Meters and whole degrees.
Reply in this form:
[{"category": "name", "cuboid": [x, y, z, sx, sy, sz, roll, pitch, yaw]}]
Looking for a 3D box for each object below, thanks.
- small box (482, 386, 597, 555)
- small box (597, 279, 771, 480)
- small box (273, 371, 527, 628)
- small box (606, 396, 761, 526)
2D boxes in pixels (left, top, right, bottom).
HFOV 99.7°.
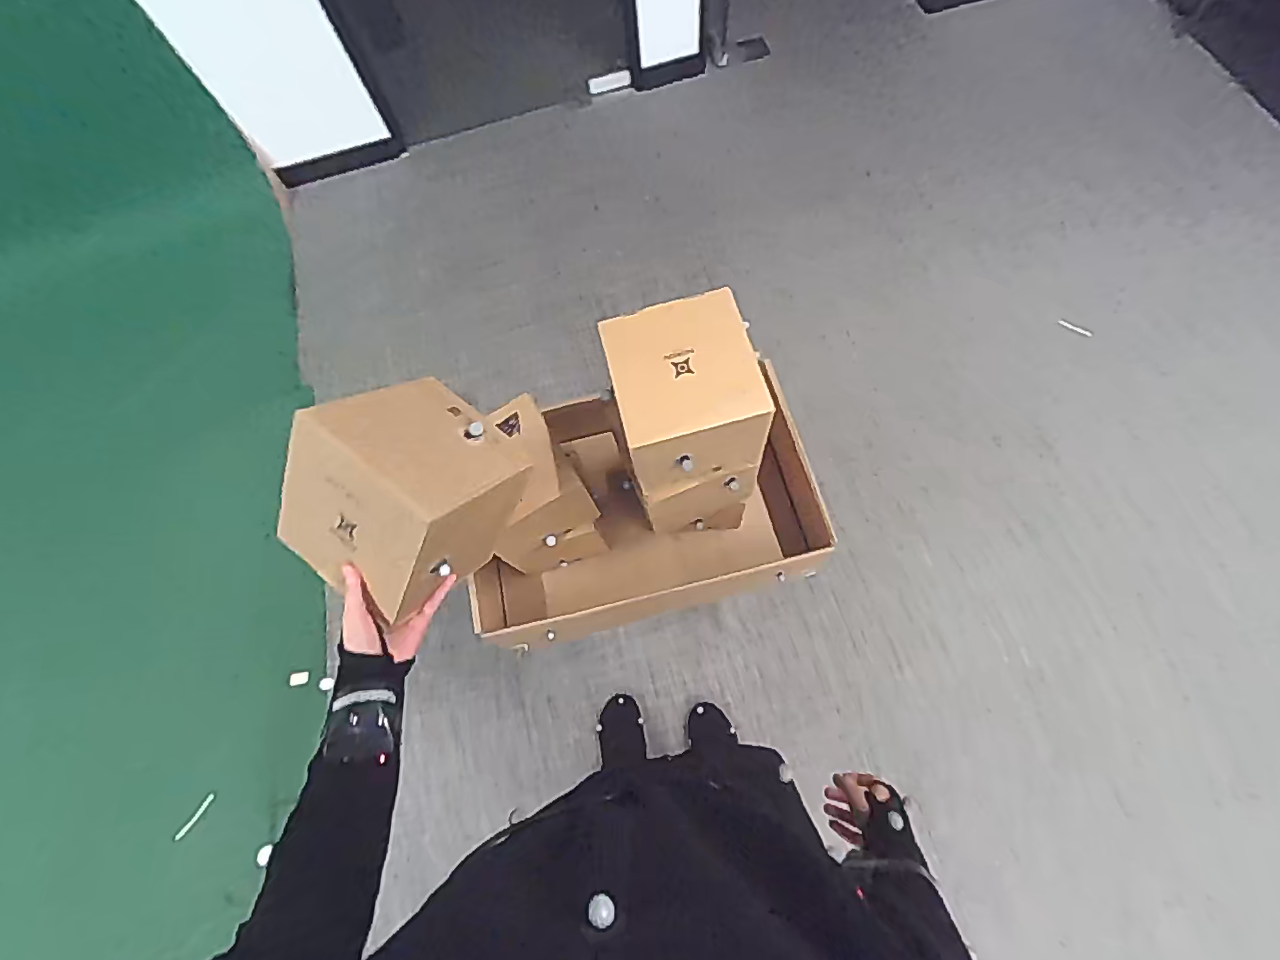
[{"category": "small box", "cuboid": [-0.186, -0.006, 0.839, 0.168, 0.176, 0.179, -31, 71, -5]}, {"category": "small box", "cuboid": [0.055, -0.113, 0.684, 0.168, 0.176, 0.179, -15, 68, 1]}, {"category": "small box", "cuboid": [-0.247, 0.012, 0.573, 0.168, 0.179, 0.176, 37, 34, 7]}, {"category": "small box", "cuboid": [0.065, -0.049, 0.833, 0.179, 0.176, 0.168, -22, 68, -2]}]
